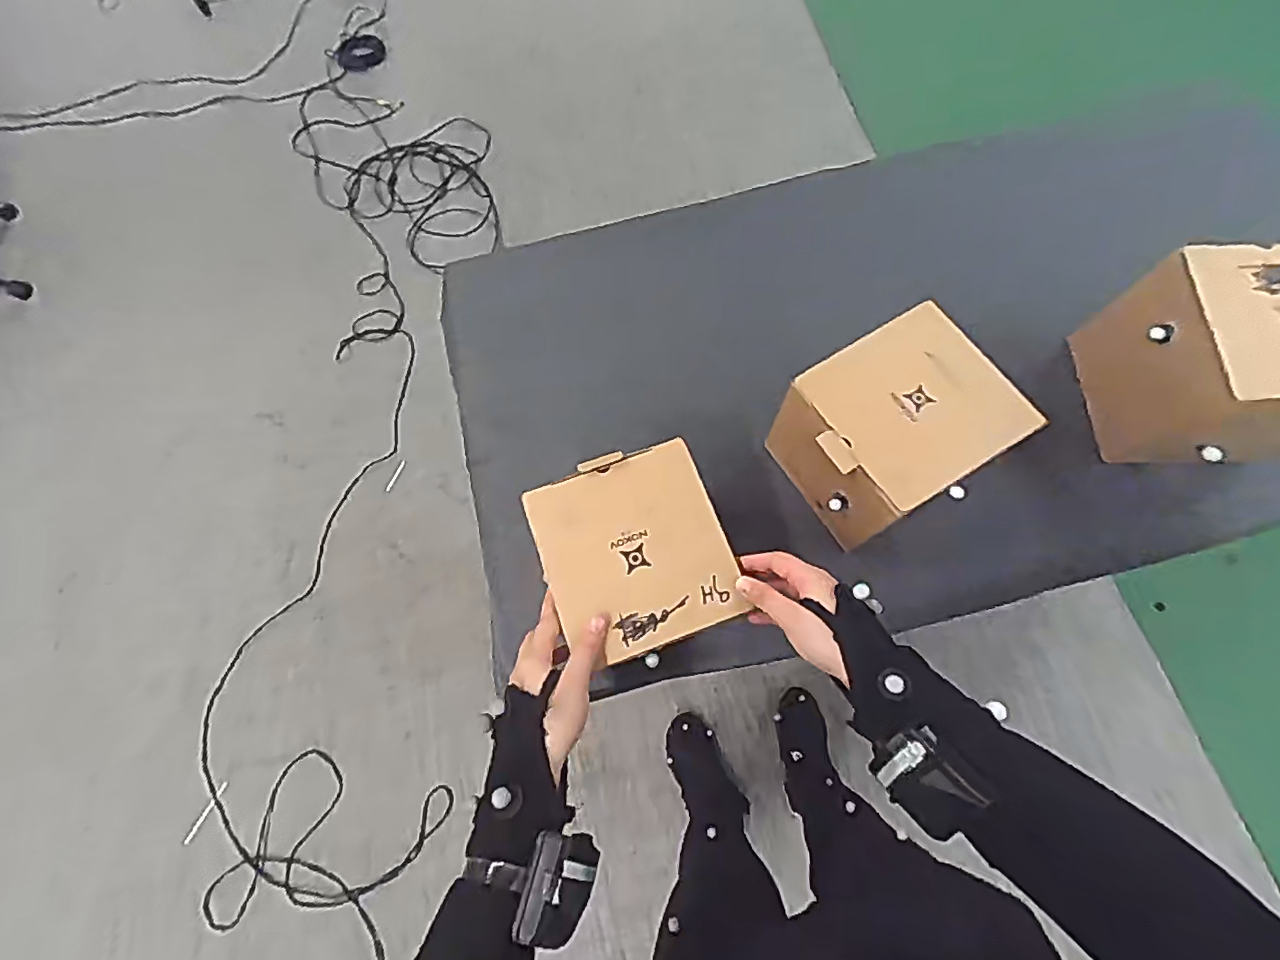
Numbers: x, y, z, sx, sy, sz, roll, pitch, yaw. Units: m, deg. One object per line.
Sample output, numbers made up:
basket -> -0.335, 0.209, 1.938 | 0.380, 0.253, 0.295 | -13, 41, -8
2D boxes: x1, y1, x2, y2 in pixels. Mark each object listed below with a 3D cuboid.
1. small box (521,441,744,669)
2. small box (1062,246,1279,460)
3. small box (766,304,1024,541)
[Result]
small box -> -0.009, 0.088, 0.575 | 0.168, 0.176, 0.179 | -20, 73, -4
small box -> 0.622, -0.133, 0.605 | 0.168, 0.176, 0.179 | -1, 72, 4
small box -> 0.259, -0.051, 0.605 | 0.179, 0.176, 0.168 | -31, 74, -8
